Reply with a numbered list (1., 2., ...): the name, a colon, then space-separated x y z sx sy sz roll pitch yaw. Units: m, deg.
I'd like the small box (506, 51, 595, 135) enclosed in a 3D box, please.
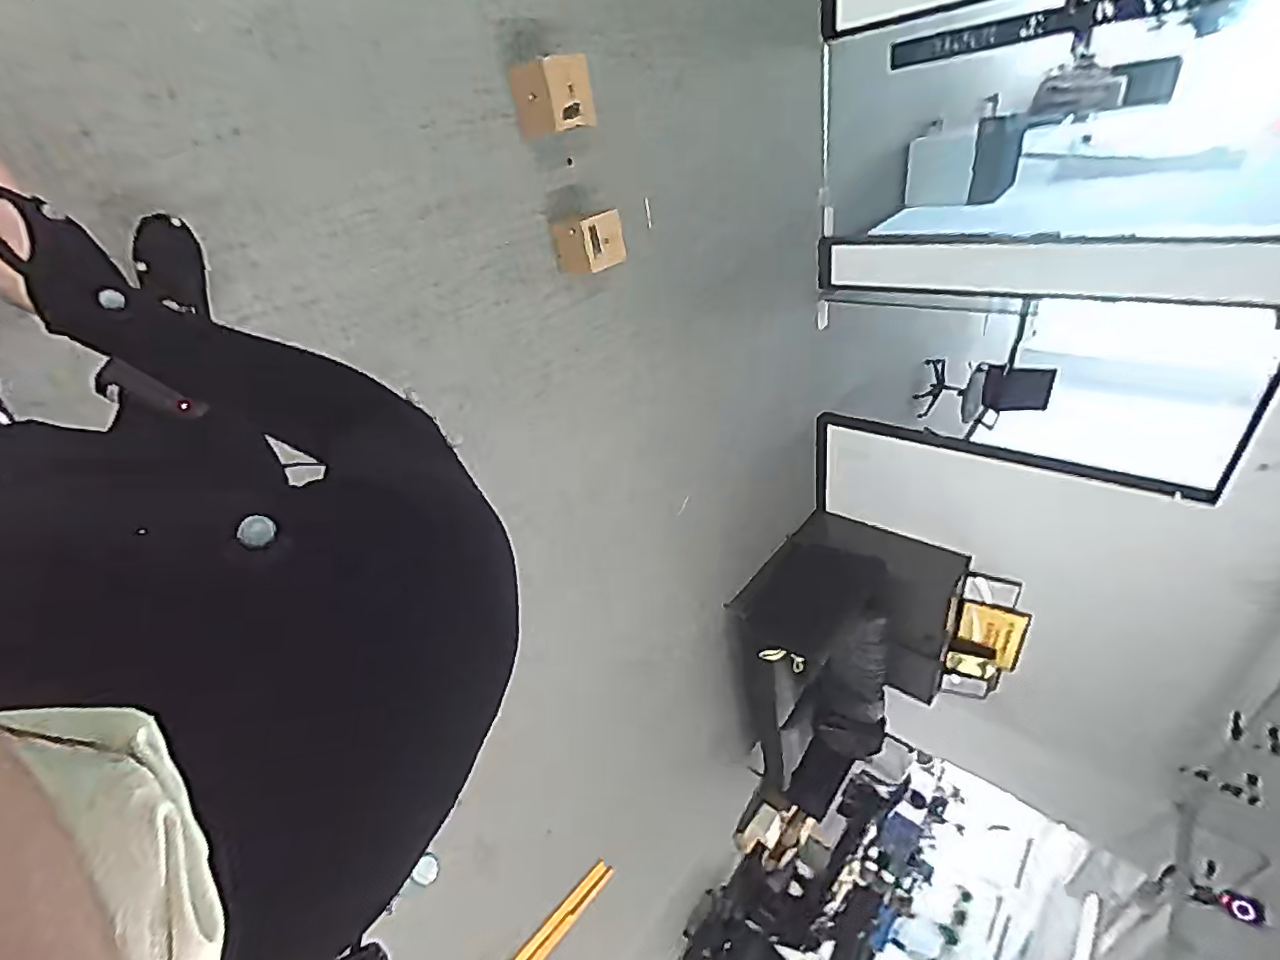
1. small box: -0.263 -1.133 1.592 0.168 0.176 0.179 -39 131 -35
